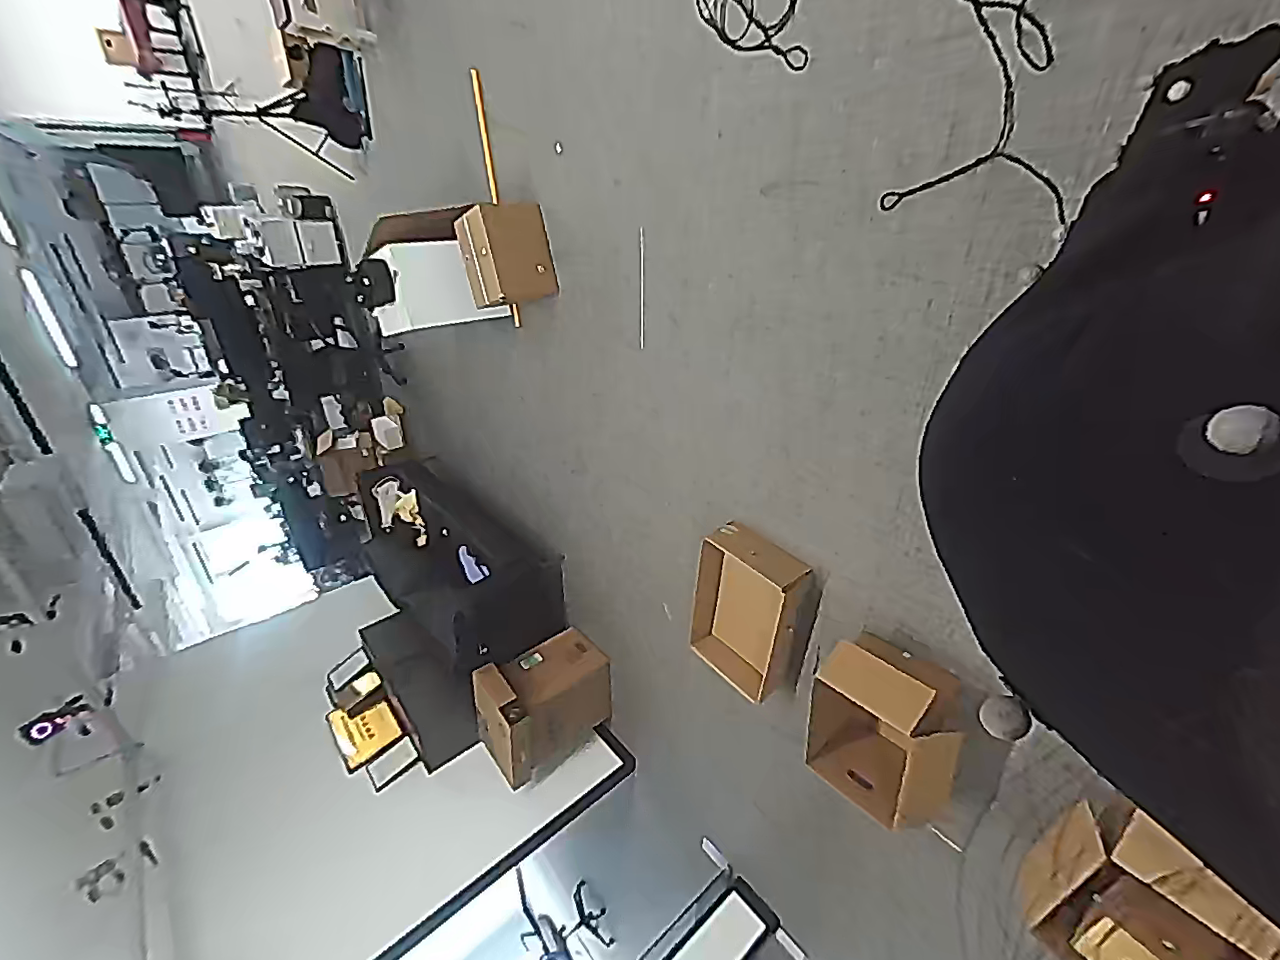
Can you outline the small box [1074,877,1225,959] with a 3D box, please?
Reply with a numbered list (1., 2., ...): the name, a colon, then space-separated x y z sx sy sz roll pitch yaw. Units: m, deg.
1. small box: 1.114 1.022 1.185 0.179 0.176 0.168 34 132 39
